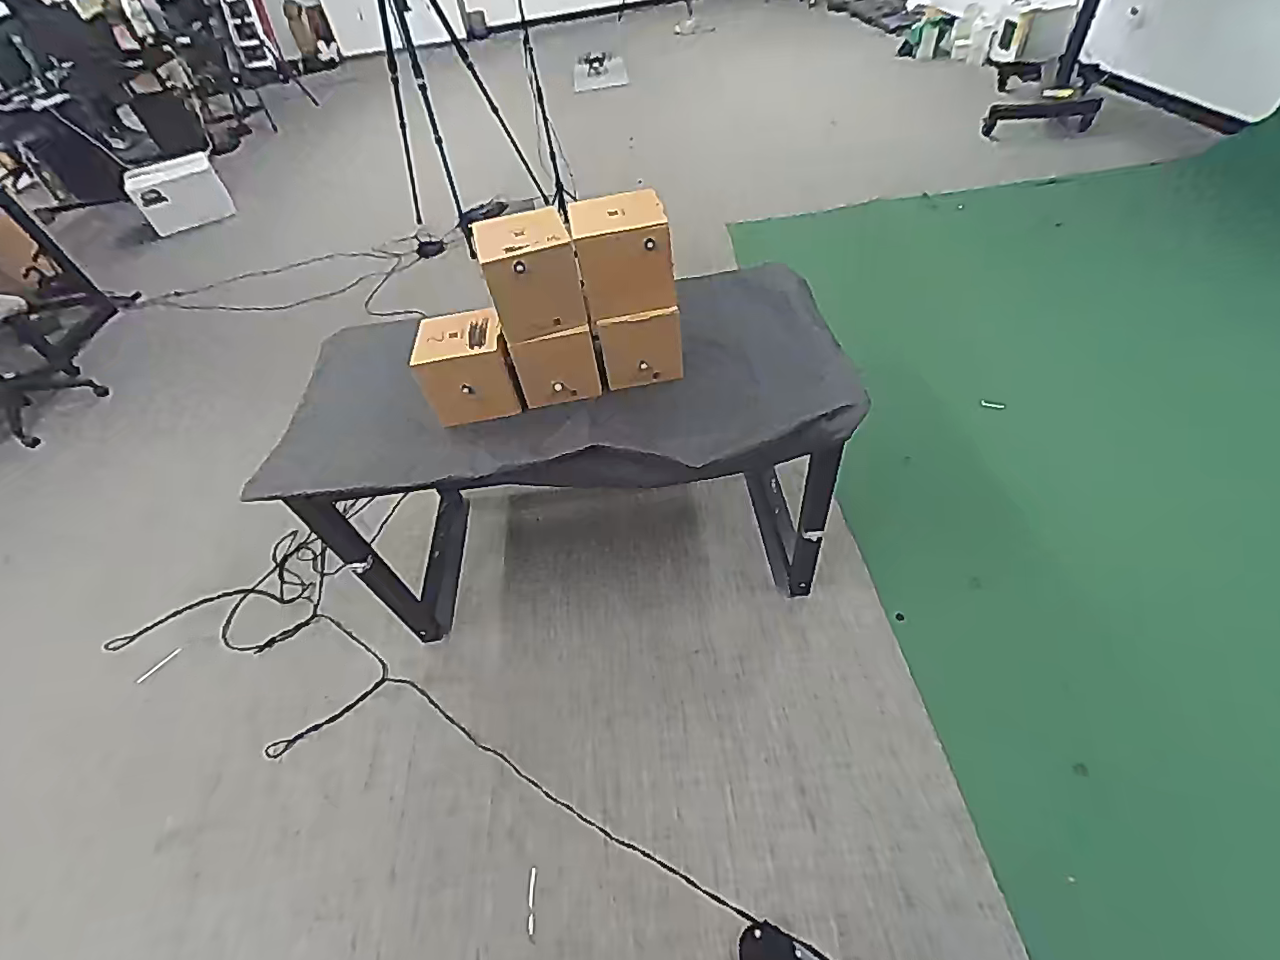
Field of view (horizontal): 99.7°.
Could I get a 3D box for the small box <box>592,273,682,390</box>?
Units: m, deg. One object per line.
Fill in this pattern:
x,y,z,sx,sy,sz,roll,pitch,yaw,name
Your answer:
-0.007,-0.321,1.175,0.168,0.176,0.179,-10,48,1,small box
